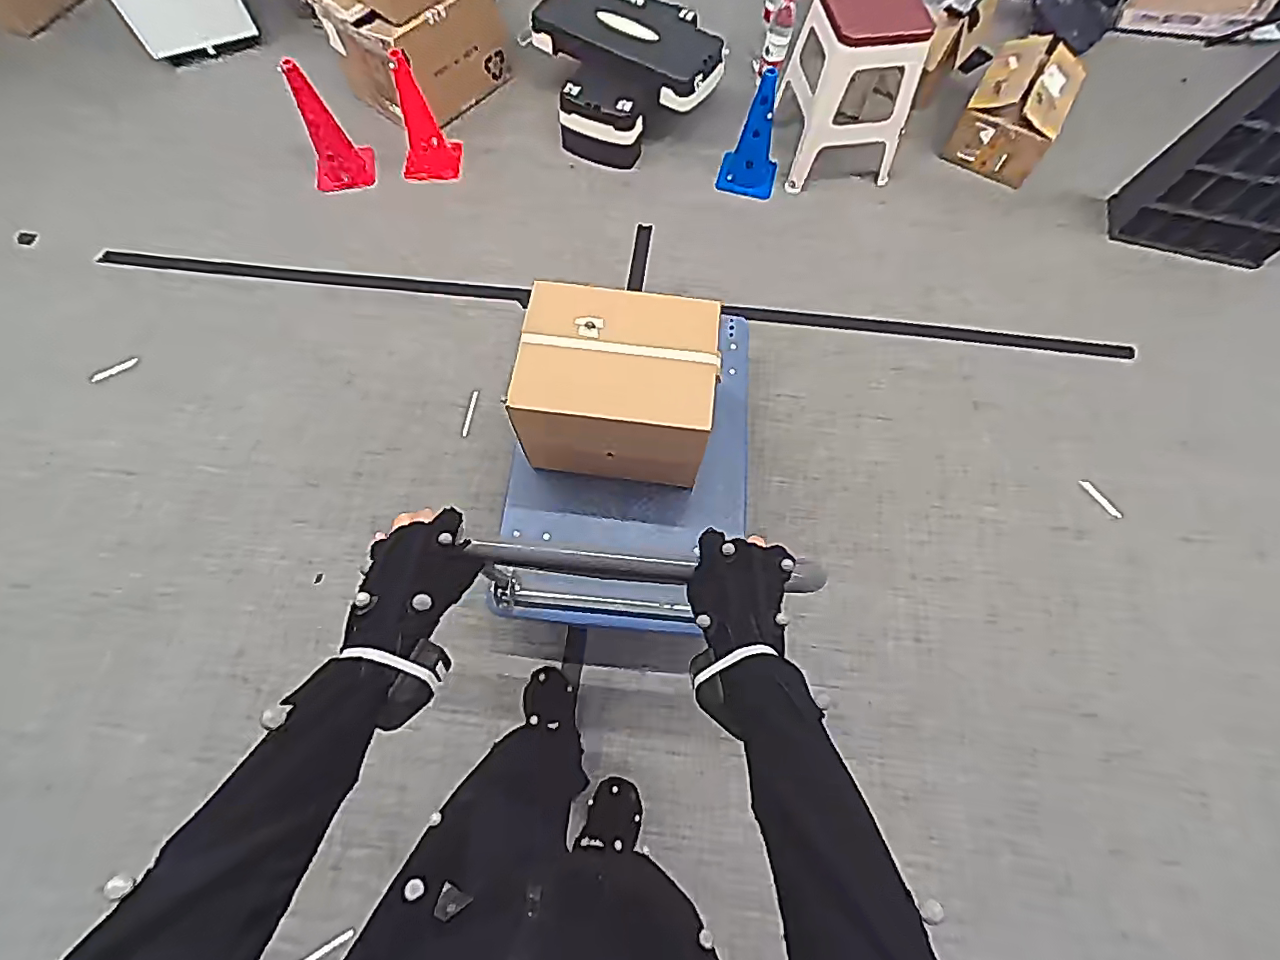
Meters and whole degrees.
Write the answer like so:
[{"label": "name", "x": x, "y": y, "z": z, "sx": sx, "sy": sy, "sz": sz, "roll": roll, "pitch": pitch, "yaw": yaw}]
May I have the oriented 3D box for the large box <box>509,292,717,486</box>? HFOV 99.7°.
[{"label": "large box", "x": -0.045, "y": -0.195, "z": 1.253, "sx": 0.408, "sy": 0.320, "sz": 0.320, "roll": 7, "pitch": 69, "yaw": 2}]
